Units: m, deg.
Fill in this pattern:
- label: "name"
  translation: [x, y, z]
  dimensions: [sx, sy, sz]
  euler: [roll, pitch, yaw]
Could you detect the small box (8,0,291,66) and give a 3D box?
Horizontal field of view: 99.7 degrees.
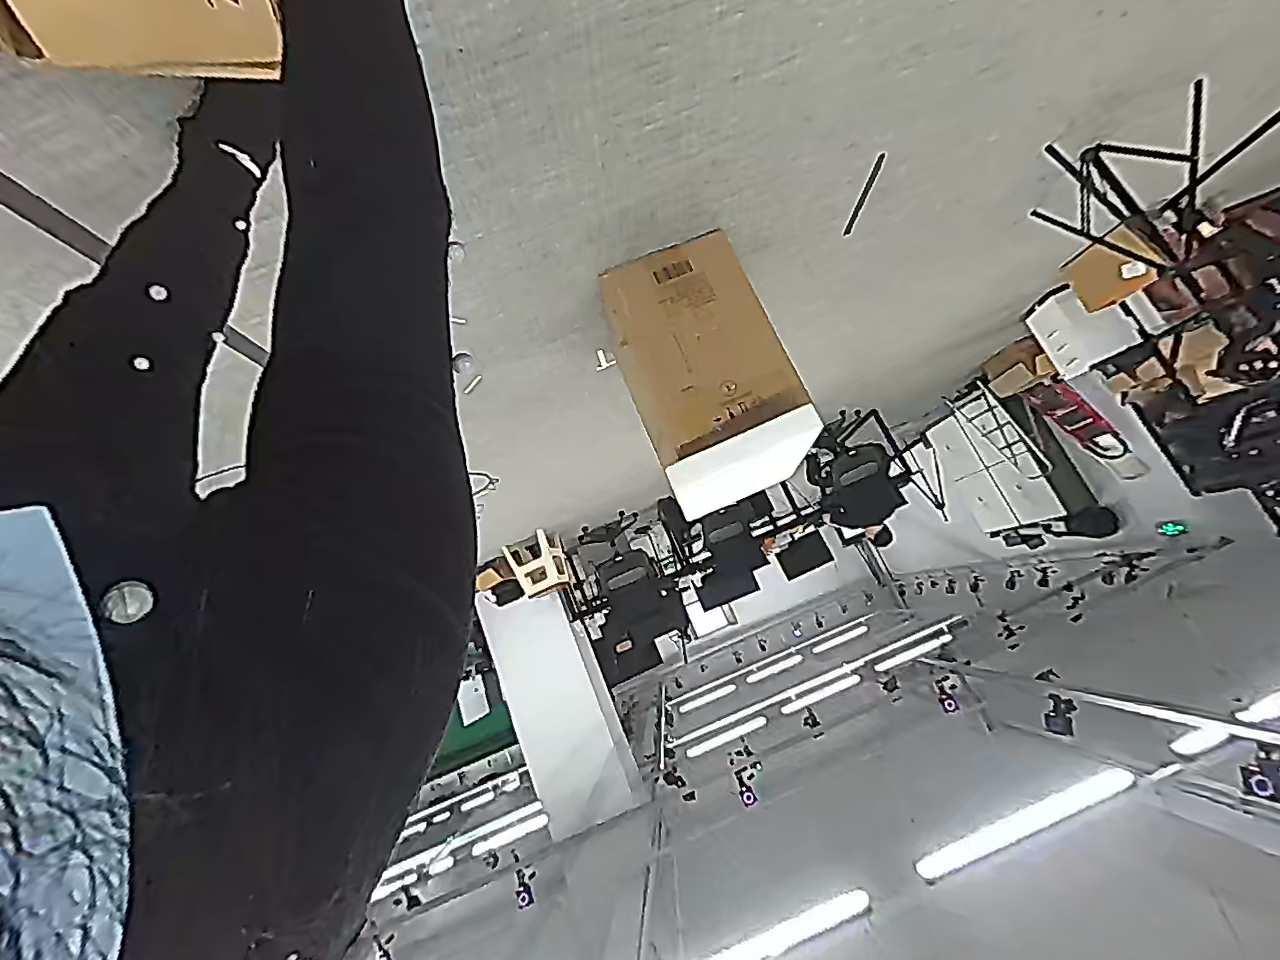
- label: "small box"
  translation: [-0.404, -0.456, 0.410]
  dimensions: [0.179, 0.176, 0.168]
  euler: [-19, 164, -22]
